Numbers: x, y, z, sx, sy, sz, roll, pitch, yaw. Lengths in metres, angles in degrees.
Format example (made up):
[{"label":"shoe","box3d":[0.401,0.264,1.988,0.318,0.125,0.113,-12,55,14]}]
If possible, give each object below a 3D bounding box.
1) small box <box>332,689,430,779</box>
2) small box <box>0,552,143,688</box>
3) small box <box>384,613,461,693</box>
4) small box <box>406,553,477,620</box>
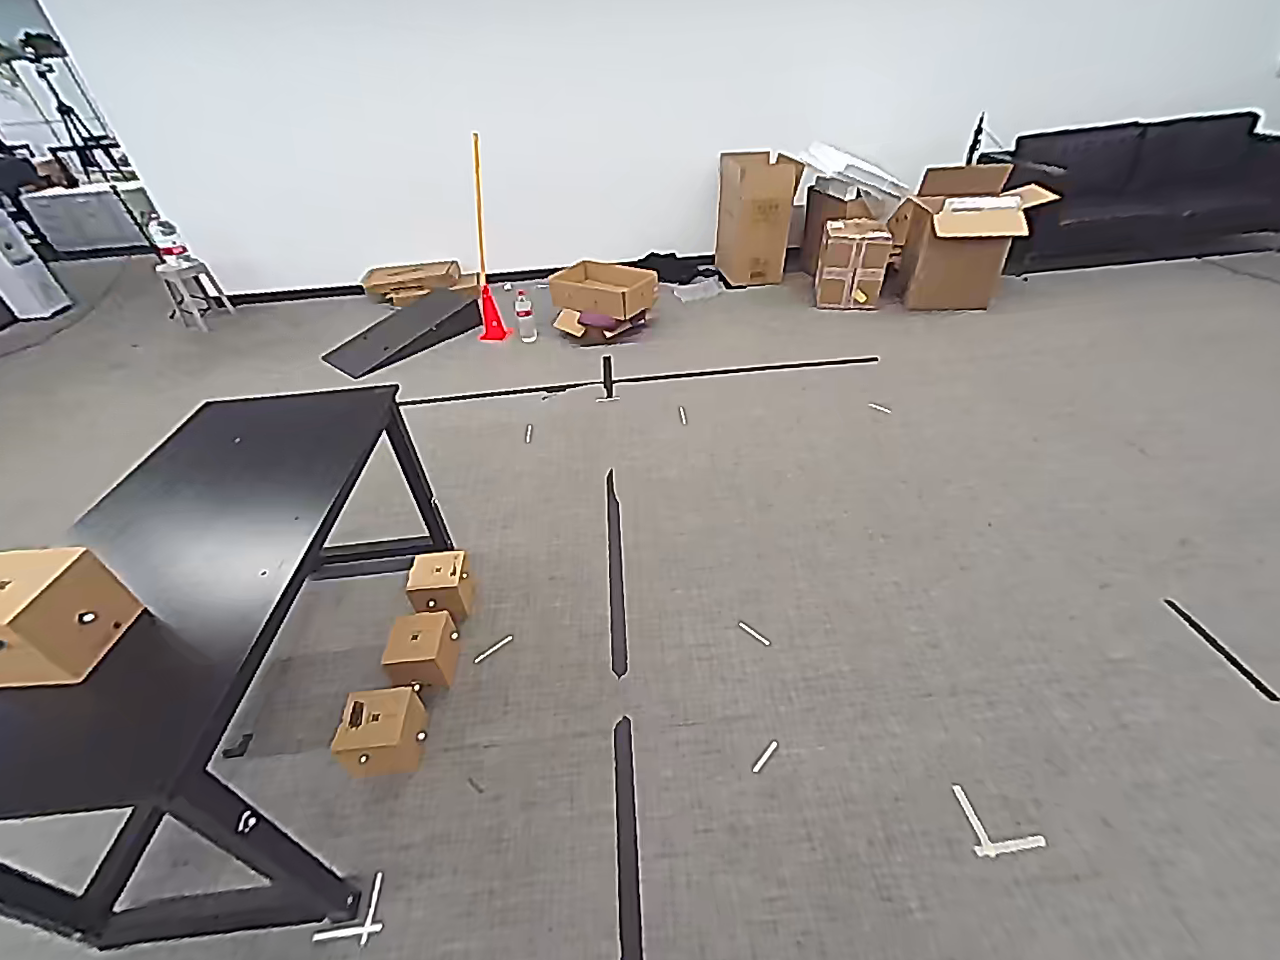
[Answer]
[{"label":"small box","box3d":[-0.709,0.708,1.503,0.179,0.176,0.168,-5,39,-2]},{"label":"small box","box3d":[-1.048,0.245,0.945,0.179,0.176,0.168,-4,38,1]},{"label":"small box","box3d":[-0.675,0.547,1.702,0.168,0.176,0.179,-7,39,-1]},{"label":"small box","box3d":[-0.692,0.382,1.906,0.179,0.176,0.168,-6,39,-2]}]
